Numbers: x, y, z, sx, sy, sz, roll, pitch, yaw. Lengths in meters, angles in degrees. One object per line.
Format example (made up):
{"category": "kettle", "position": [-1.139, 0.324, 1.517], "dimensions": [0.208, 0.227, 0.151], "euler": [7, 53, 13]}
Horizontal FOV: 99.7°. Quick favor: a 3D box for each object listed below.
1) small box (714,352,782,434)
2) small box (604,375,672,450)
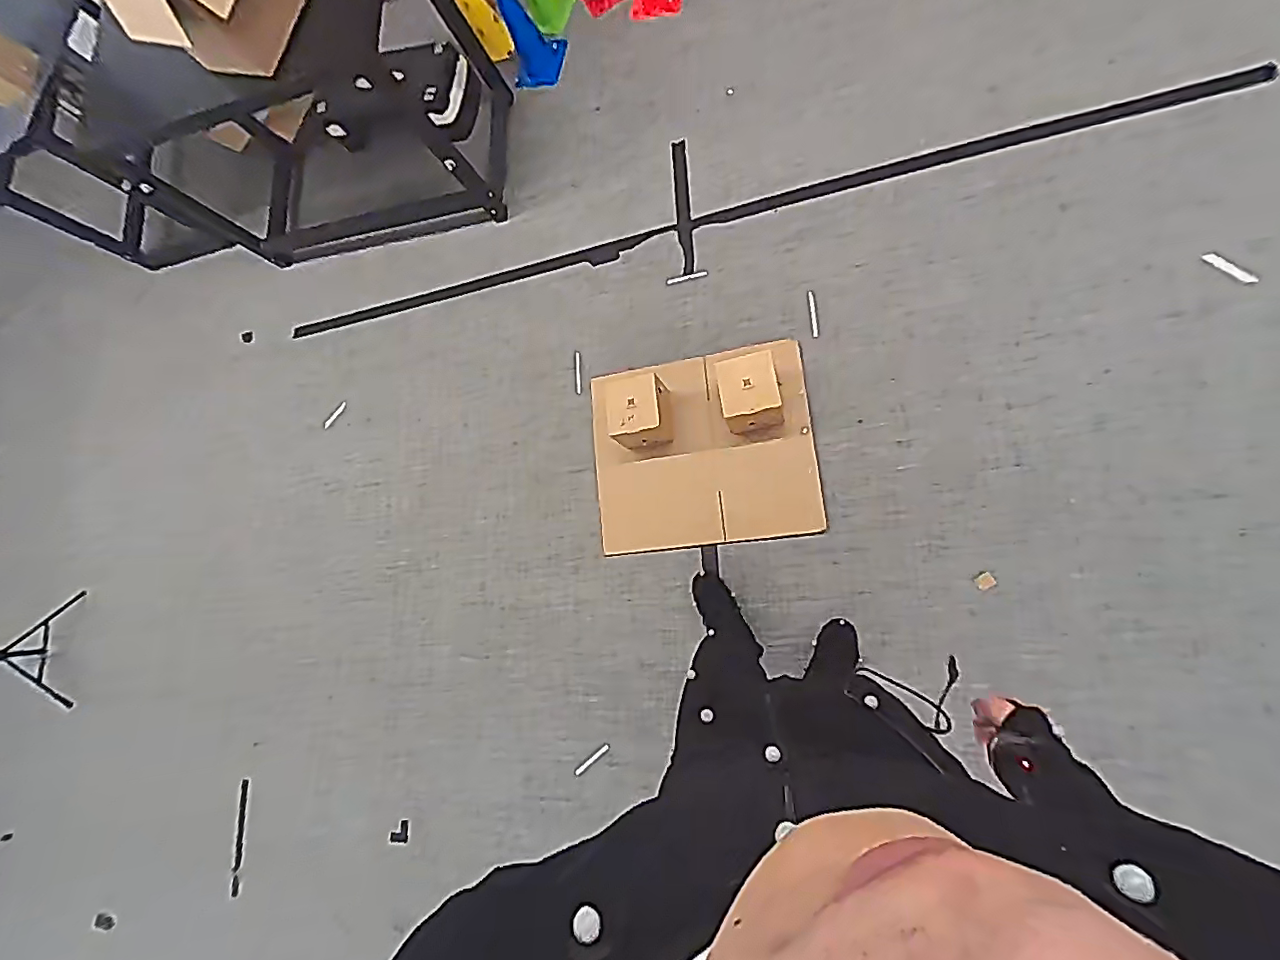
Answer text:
{"category": "small box", "position": [0.325, -0.253, 1.613], "dimensions": [0.168, 0.176, 0.179], "euler": [-12, 77, 15]}
{"category": "small box", "position": [-0.004, -0.207, 1.704], "dimensions": [0.168, 0.176, 0.179], "euler": [-9, 78, 17]}
